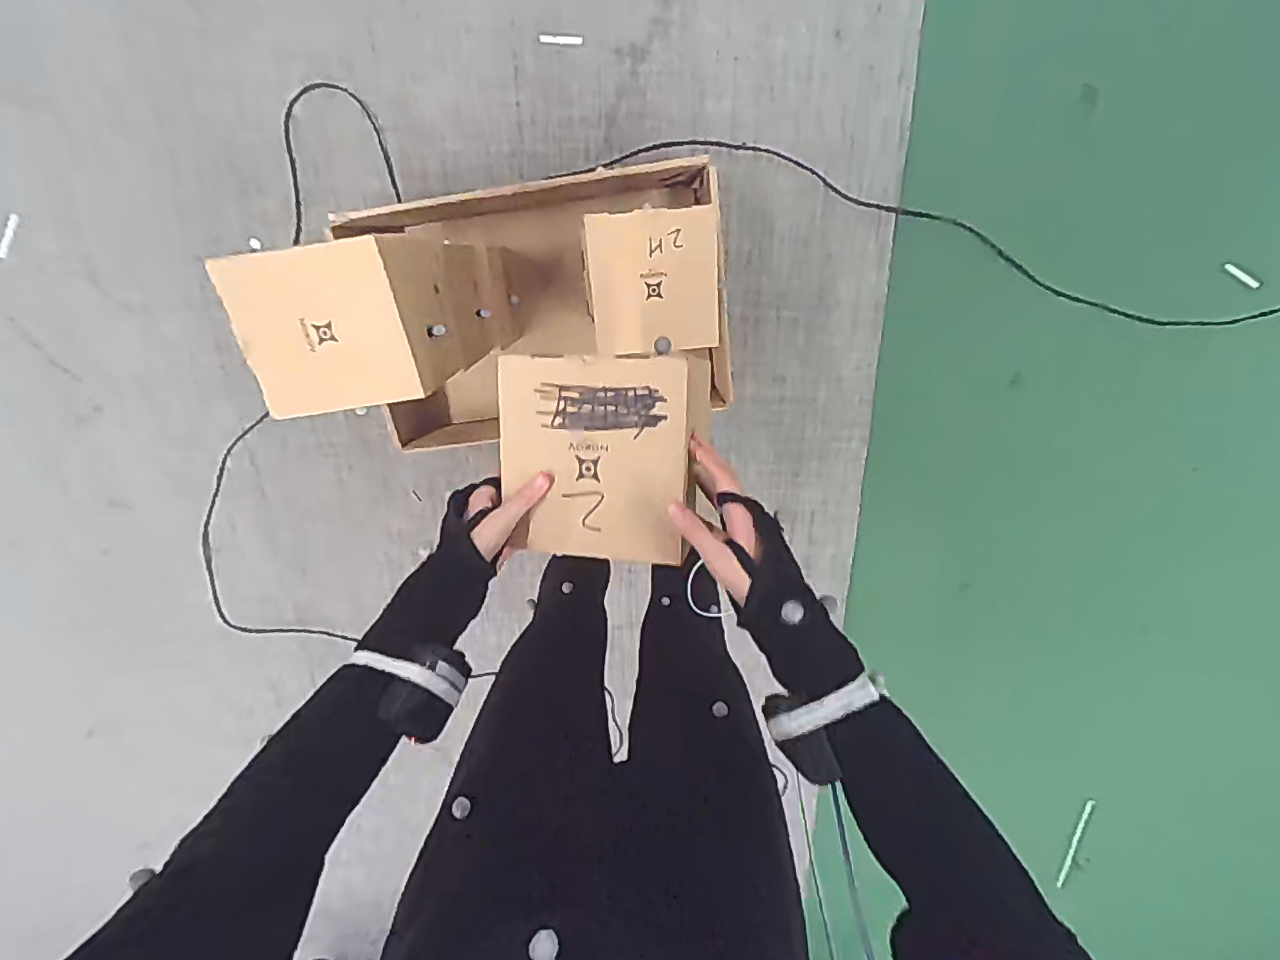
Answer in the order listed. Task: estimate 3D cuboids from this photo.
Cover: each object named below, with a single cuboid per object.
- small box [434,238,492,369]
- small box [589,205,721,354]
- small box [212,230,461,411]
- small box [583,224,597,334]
[{"bbox_3d":[-0.327,-0.253,0.778,0.179,0.176,0.168,-3,113,-1],"label":"small box"},{"bbox_3d":[0.021,-0.283,0.769,0.168,0.176,0.179,-4,111,-1],"label":"small box"},{"bbox_3d":[-0.323,-0.191,0.628,0.179,0.176,0.168,-7,113,3],"label":"small box"},{"bbox_3d":[0.003,-0.344,0.922,0.179,0.176,0.168,-3,112,1],"label":"small box"}]
